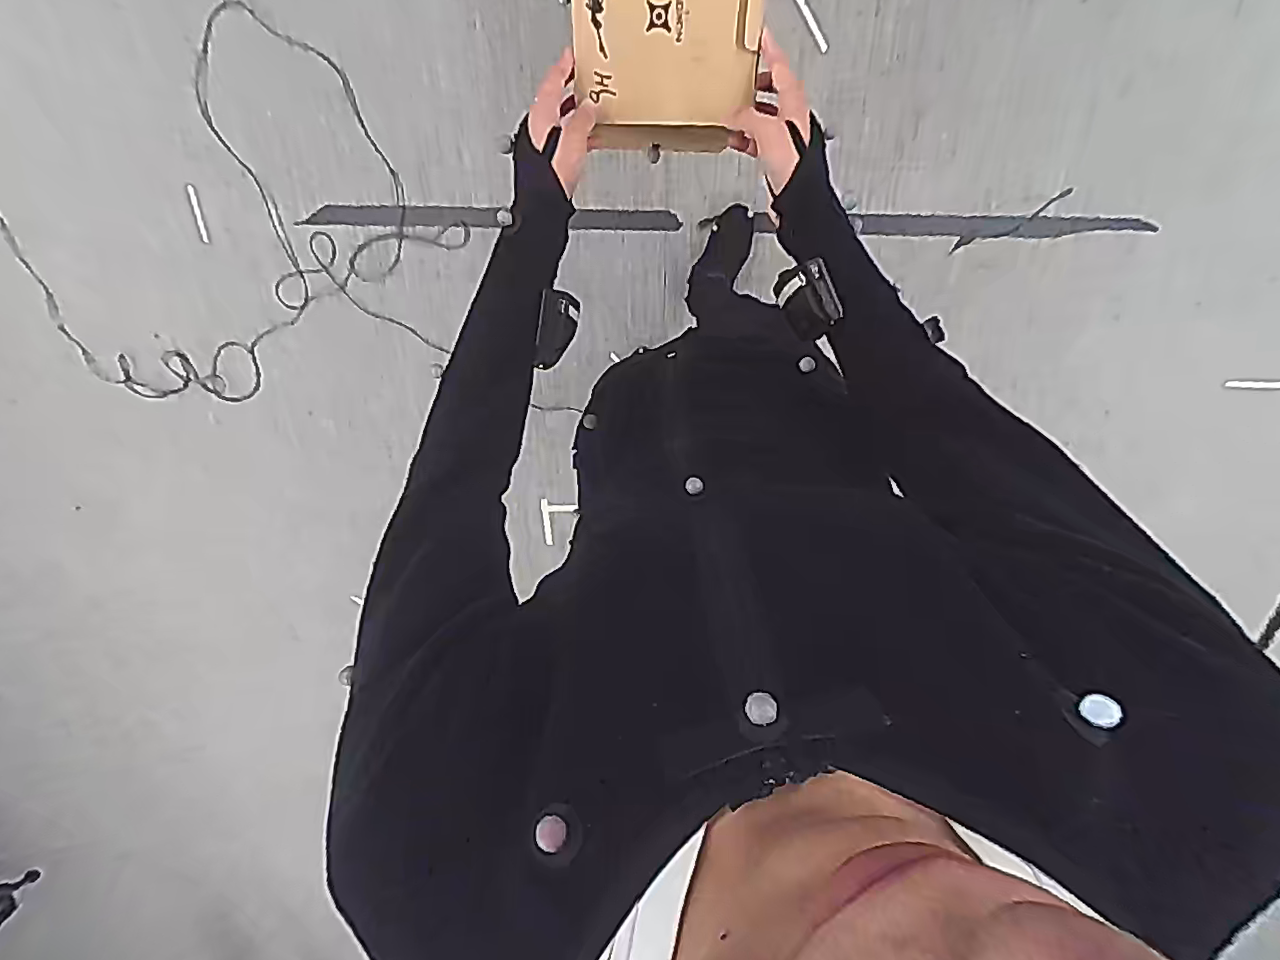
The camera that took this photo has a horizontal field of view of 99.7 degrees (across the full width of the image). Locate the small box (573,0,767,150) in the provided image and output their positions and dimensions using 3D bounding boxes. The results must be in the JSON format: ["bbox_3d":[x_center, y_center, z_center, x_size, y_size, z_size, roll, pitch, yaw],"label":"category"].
[{"bbox_3d":[0.021,-0.450,0.559,0.179,0.176,0.168,-1,114,-5],"label":"small box"}]

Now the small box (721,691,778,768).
[{"bbox_3d":[0.365,0.837,1.816,0.168,0.176,0.179,-3,114,3],"label":"small box"}]
